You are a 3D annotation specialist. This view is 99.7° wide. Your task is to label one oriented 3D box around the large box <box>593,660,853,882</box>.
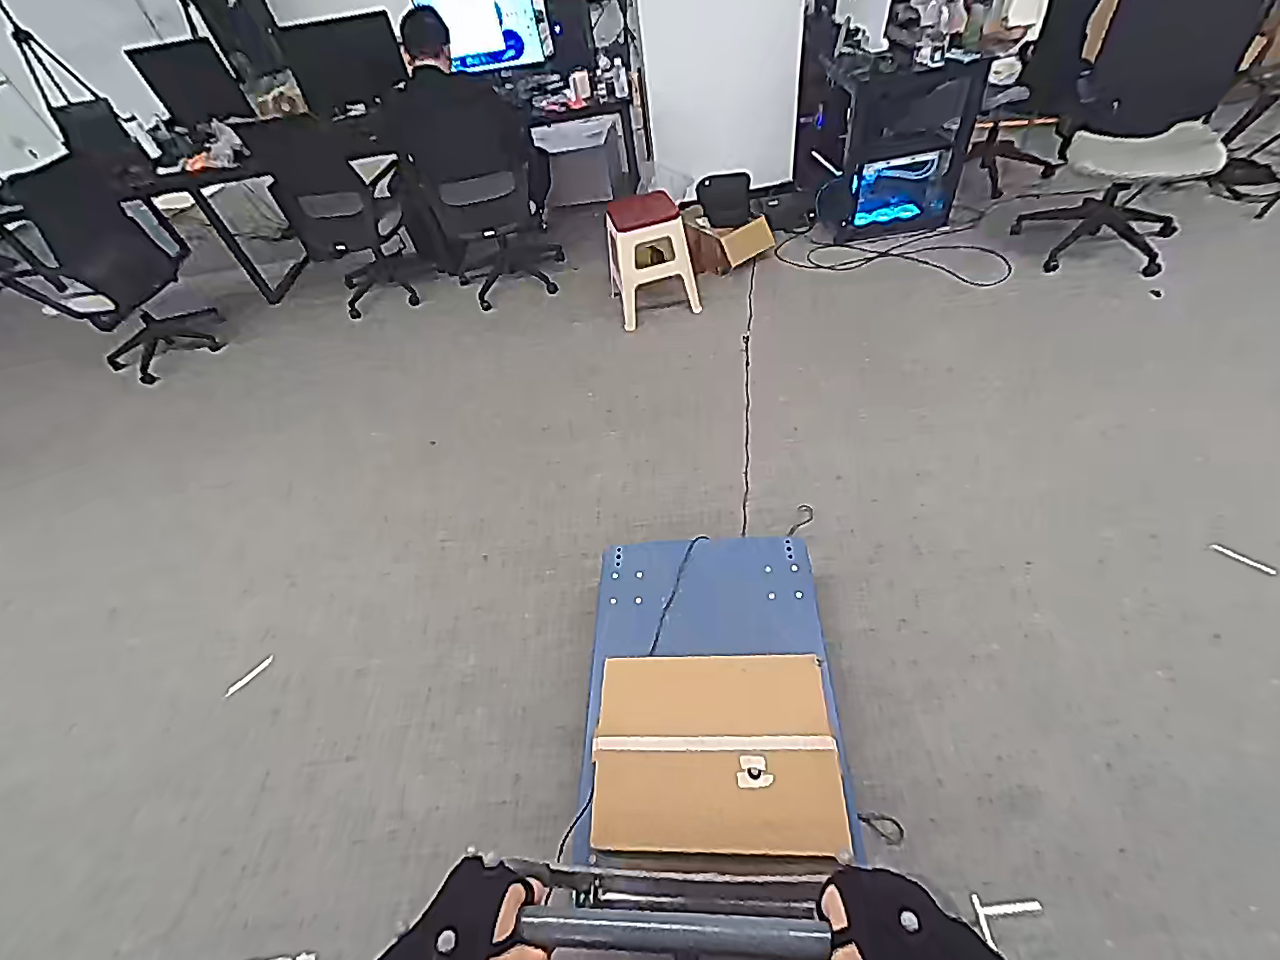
[{"bbox_3d":[0.142,0.558,1.029,0.408,0.320,0.320,-3,49,7],"label":"large box"}]
